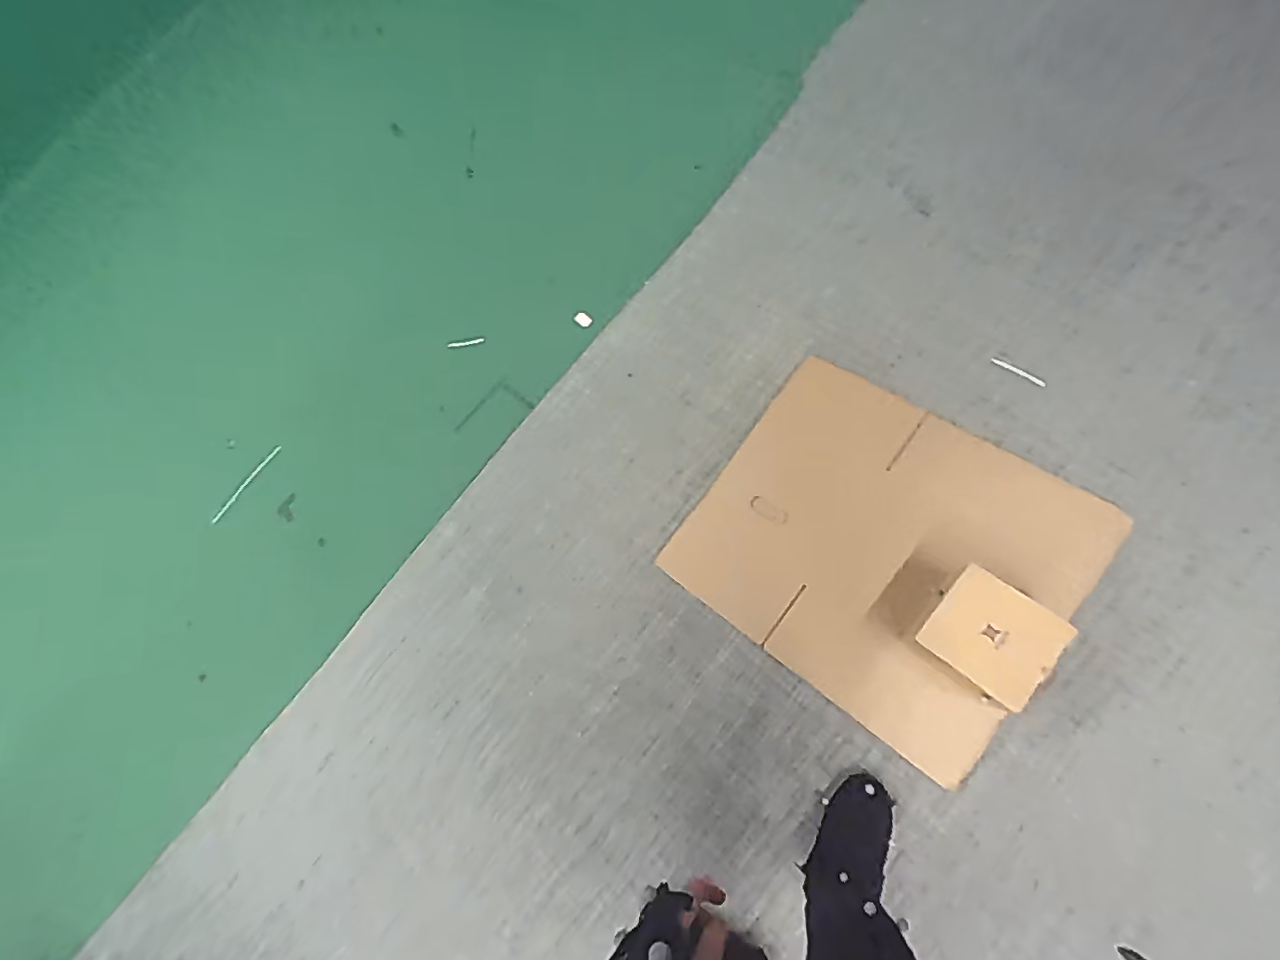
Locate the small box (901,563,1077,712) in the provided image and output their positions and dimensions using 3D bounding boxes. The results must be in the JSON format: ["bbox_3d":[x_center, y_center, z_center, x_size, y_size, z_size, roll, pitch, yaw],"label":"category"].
[{"bbox_3d":[0.584,0.272,0.936,0.179,0.176,0.168,38,87,23],"label":"small box"}]
